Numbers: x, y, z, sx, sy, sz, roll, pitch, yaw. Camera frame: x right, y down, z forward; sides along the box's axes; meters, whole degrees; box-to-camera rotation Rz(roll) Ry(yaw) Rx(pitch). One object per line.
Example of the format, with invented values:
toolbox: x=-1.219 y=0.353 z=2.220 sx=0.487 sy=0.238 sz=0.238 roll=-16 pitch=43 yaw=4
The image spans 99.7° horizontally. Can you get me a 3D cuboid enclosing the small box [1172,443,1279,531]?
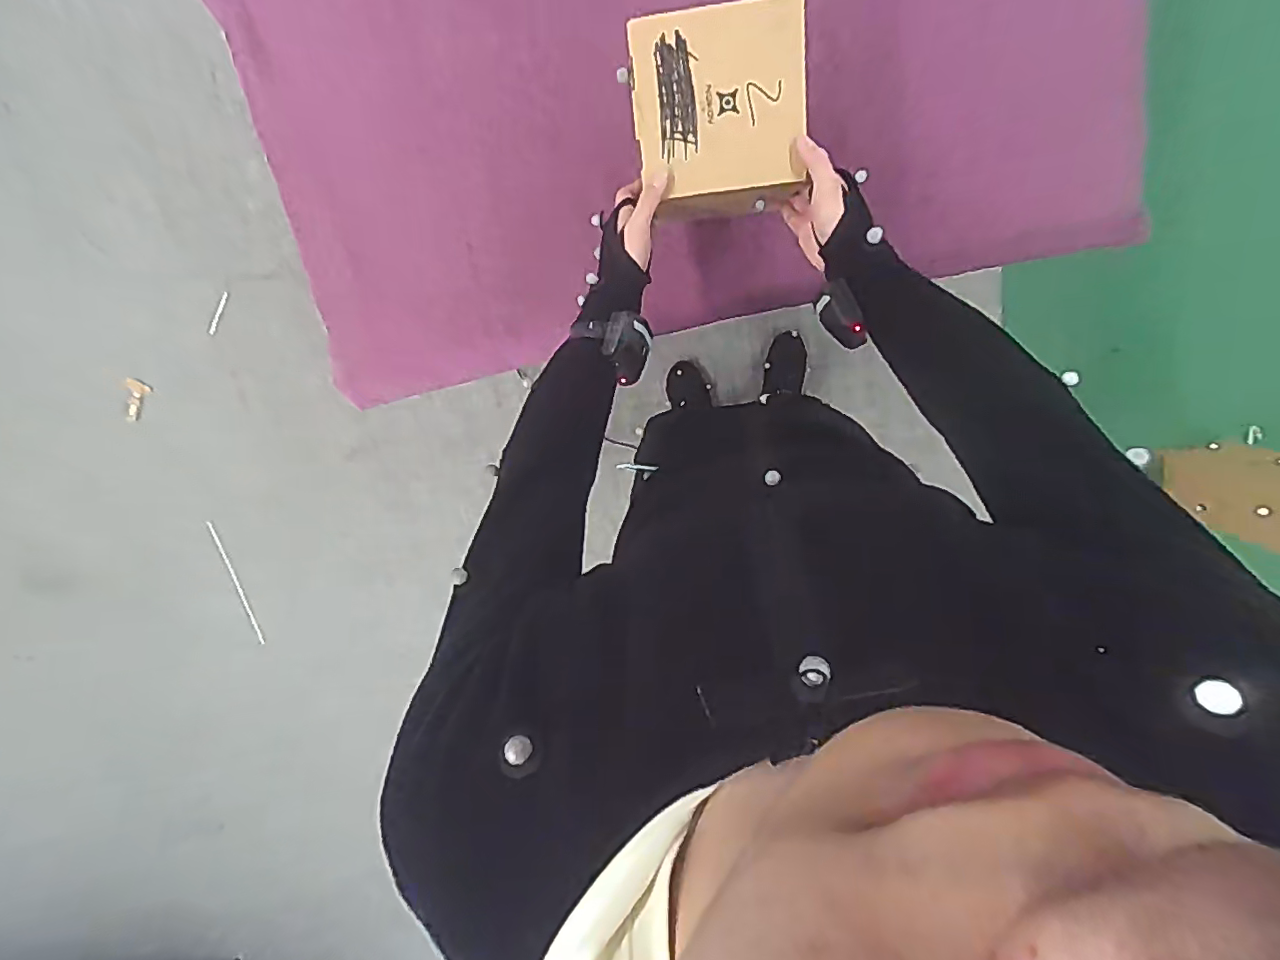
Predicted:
small box: x=1.589 y=0.014 z=1.453 sx=0.168 sy=0.176 sz=0.179 roll=-13 pitch=105 yaw=8

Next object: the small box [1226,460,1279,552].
small box: x=1.576 y=0.059 z=1.298 sx=0.168 sy=0.176 sz=0.179 roll=-11 pitch=104 yaw=8
